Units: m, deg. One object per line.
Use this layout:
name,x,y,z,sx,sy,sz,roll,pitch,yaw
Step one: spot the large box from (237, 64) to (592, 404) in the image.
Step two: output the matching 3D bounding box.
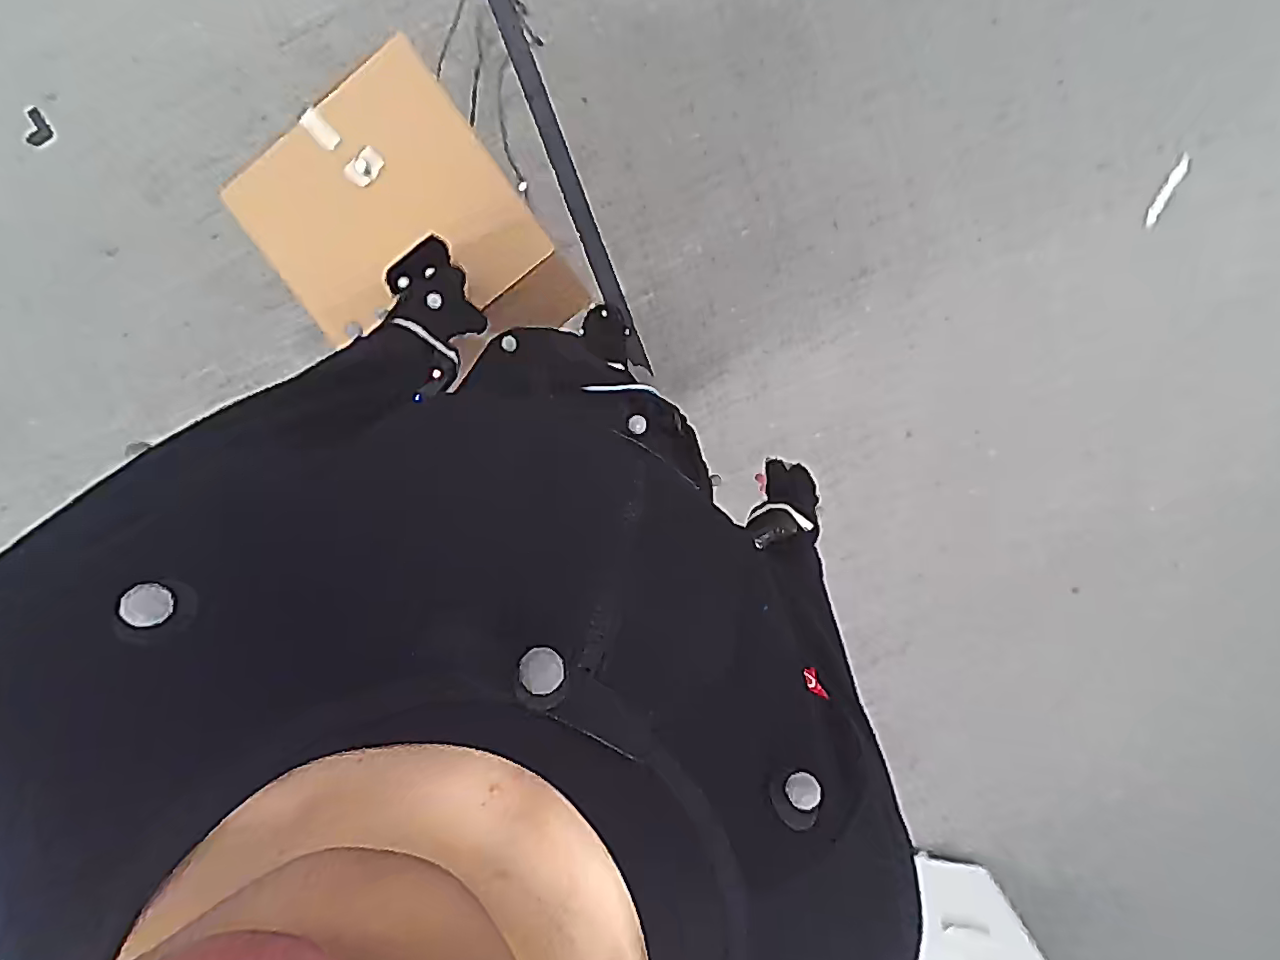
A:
large box,-0.315,-0.349,0.891,0.320,0.408,0.320,-36,98,8
